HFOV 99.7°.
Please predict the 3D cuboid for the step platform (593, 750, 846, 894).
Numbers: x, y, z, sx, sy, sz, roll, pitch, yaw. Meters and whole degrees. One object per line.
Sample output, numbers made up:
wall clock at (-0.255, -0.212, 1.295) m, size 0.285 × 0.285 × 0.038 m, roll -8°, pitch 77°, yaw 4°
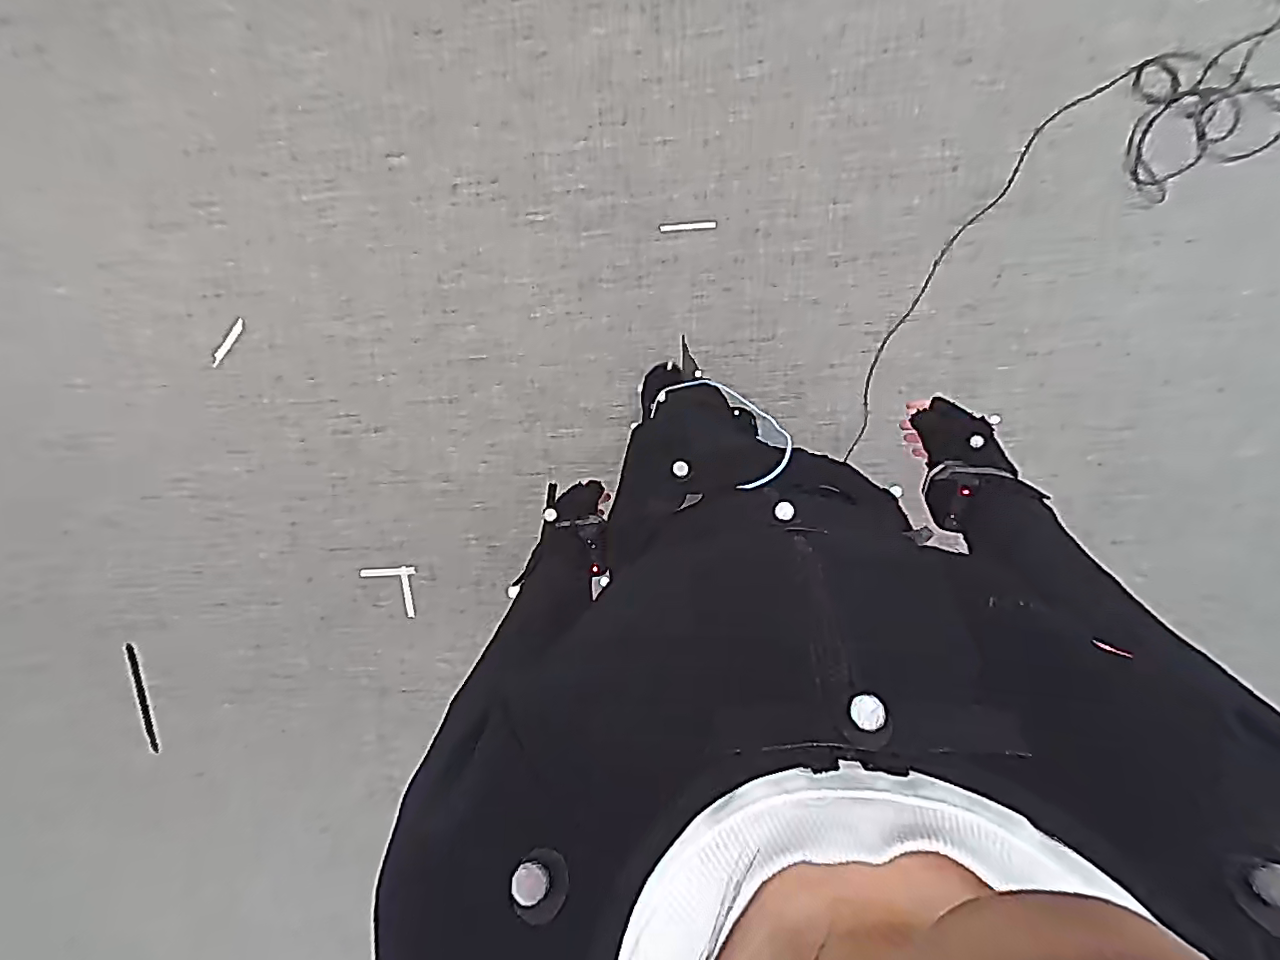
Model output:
step platform at (0.211, 0.946, 1.510) m, size 0.684 × 0.204 × 0.286 m, roll -3°, pitch 99°, yaw 8°
